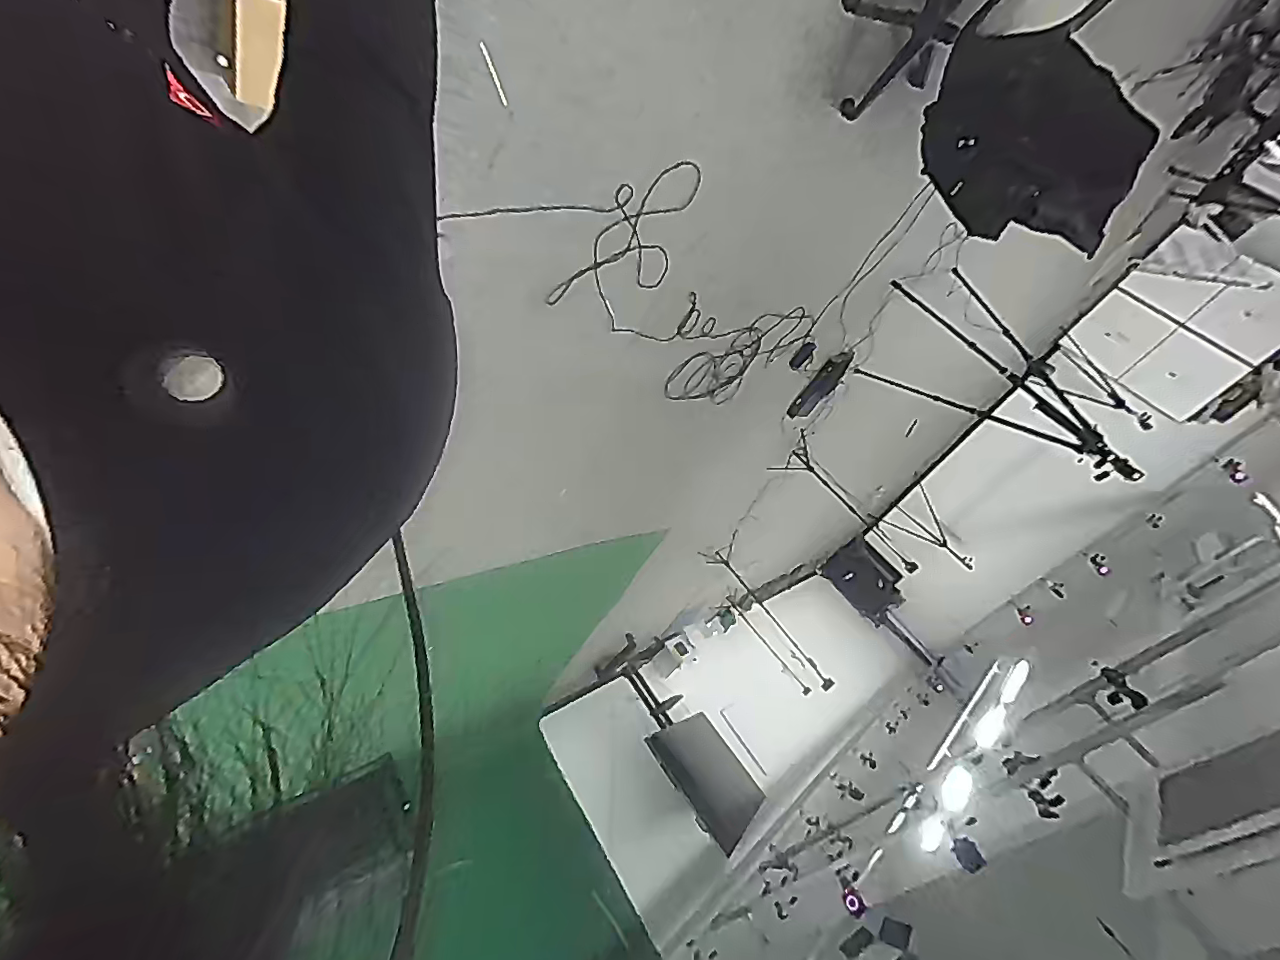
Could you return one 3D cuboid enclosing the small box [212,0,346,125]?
[{"bbox_3d":[-0.664,-0.803,0.991,0.168,0.176,0.179,-11,143,-44],"label":"small box"}]

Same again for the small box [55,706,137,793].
[{"bbox_3d":[-1.783,0.877,1.774,0.179,0.176,0.168,-5,137,-47],"label":"small box"}]
